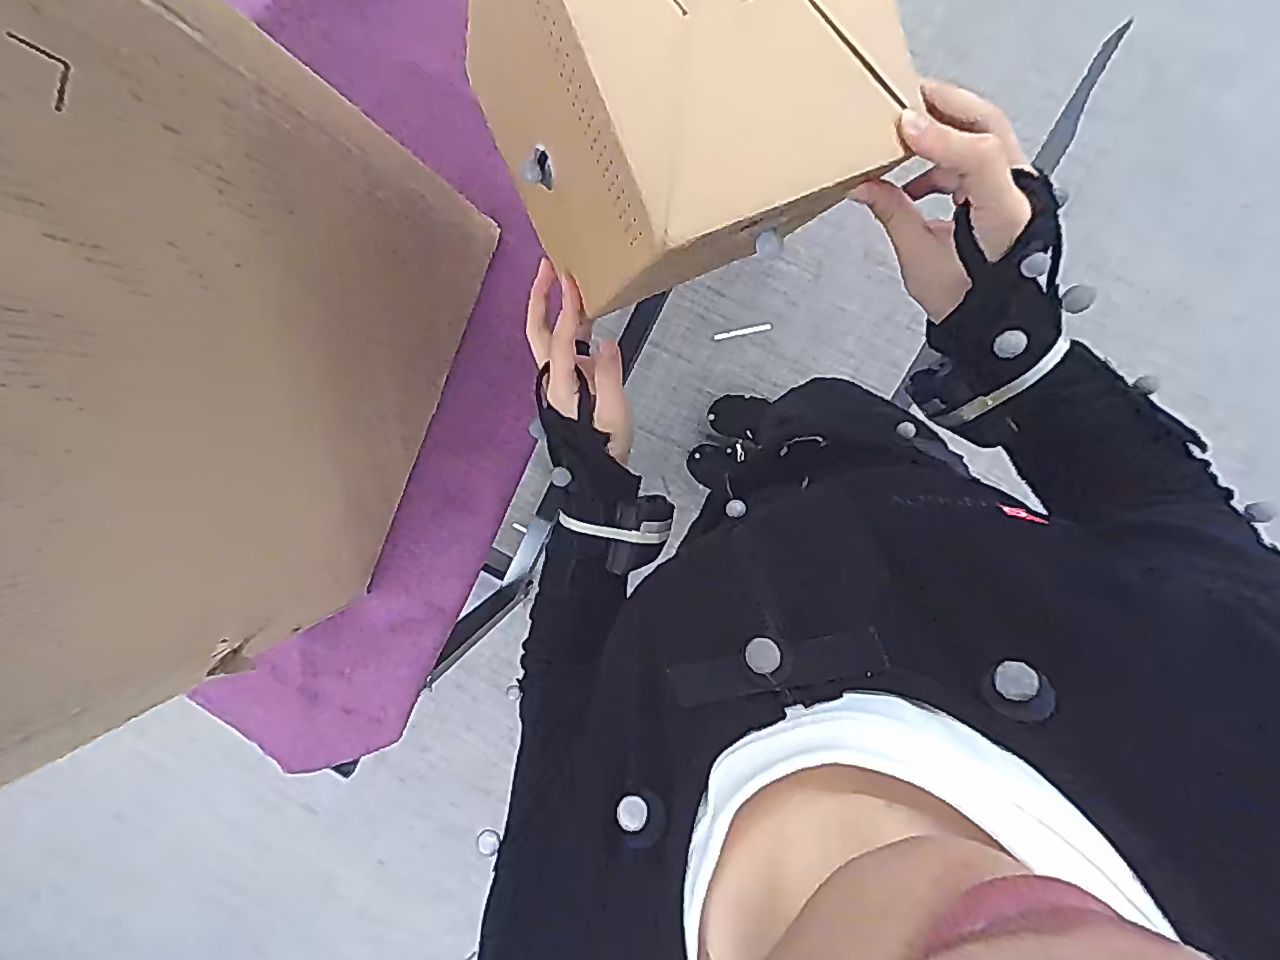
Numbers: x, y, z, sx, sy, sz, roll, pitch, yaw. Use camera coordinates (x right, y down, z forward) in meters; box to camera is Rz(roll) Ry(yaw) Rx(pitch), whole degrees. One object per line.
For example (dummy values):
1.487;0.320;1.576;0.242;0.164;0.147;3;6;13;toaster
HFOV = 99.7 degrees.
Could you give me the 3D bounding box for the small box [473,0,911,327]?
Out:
0.021;-0.216;0.316;0.168;0.176;0.179;-27;102;-15;small box
